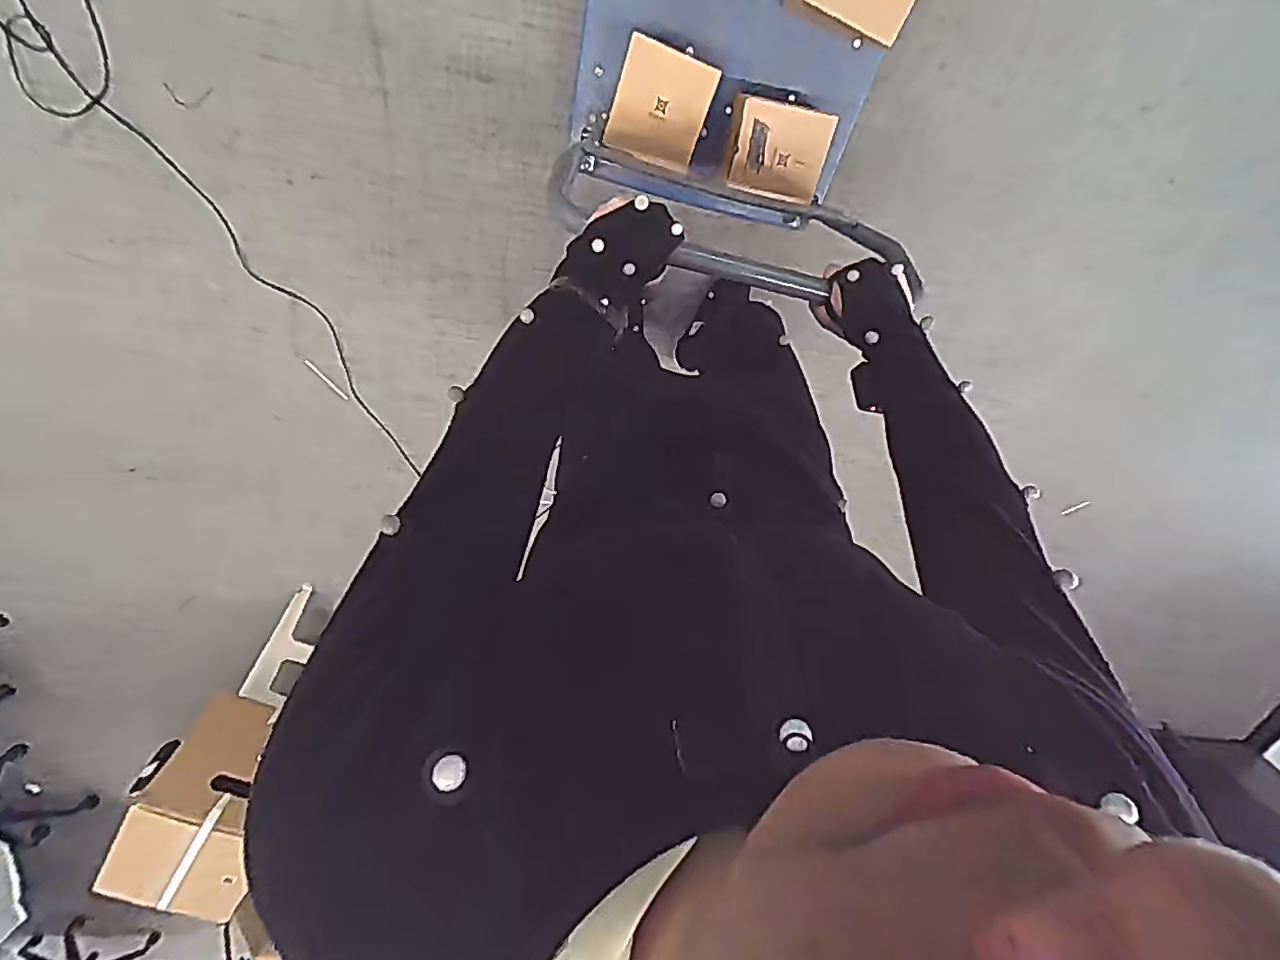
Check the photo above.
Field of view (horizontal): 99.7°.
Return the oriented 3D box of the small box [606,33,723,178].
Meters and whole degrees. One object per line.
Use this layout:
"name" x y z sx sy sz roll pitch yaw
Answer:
"small box" 0.039 -0.714 1.033 0.168 0.176 0.179 16 127 -12
